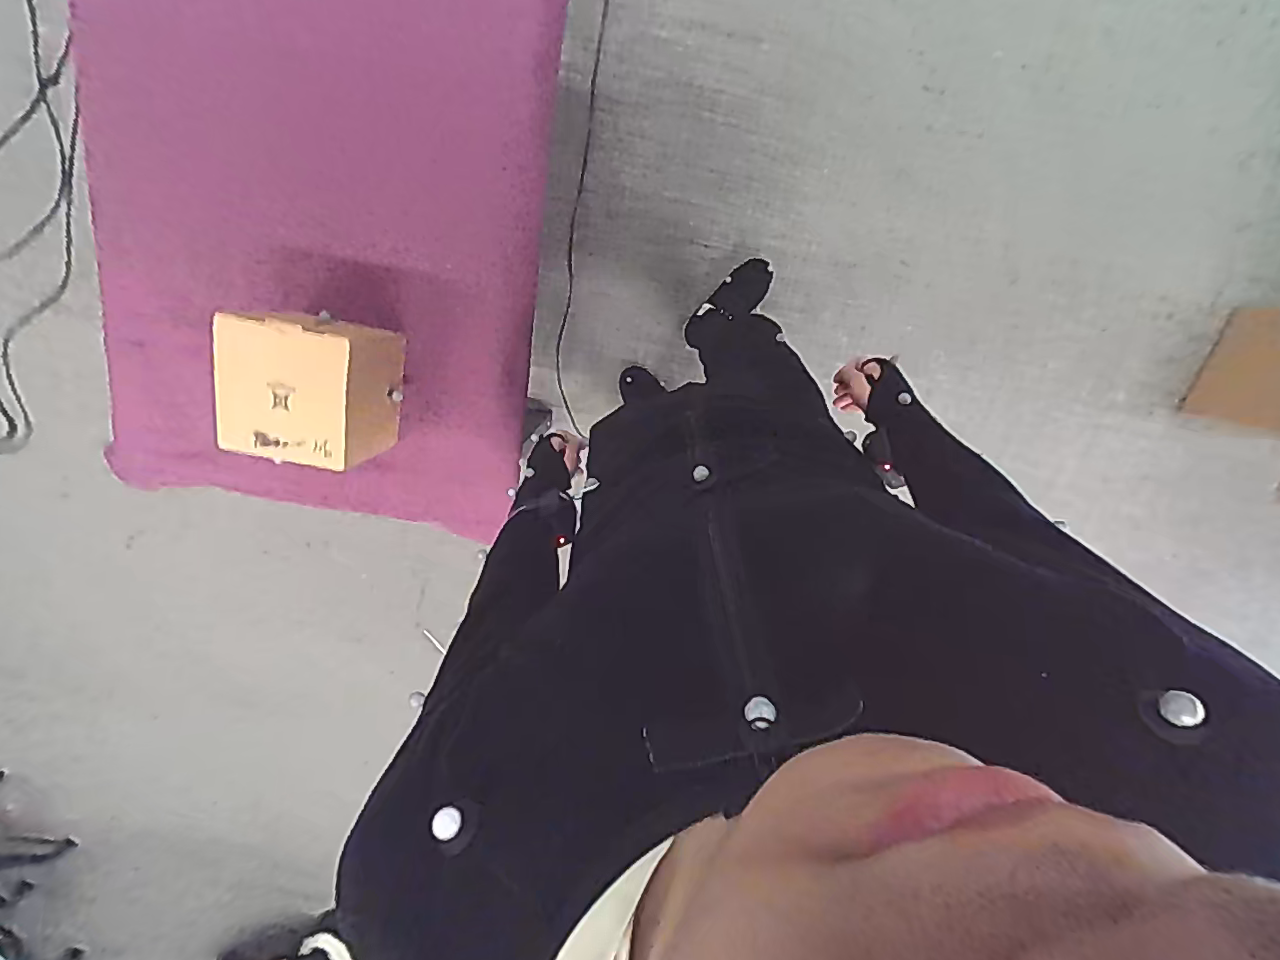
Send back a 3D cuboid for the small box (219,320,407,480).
[{"bbox_3d":[-0.444,-0.118,0.757,0.168,0.176,0.179,11,105,-3],"label":"small box"}]
